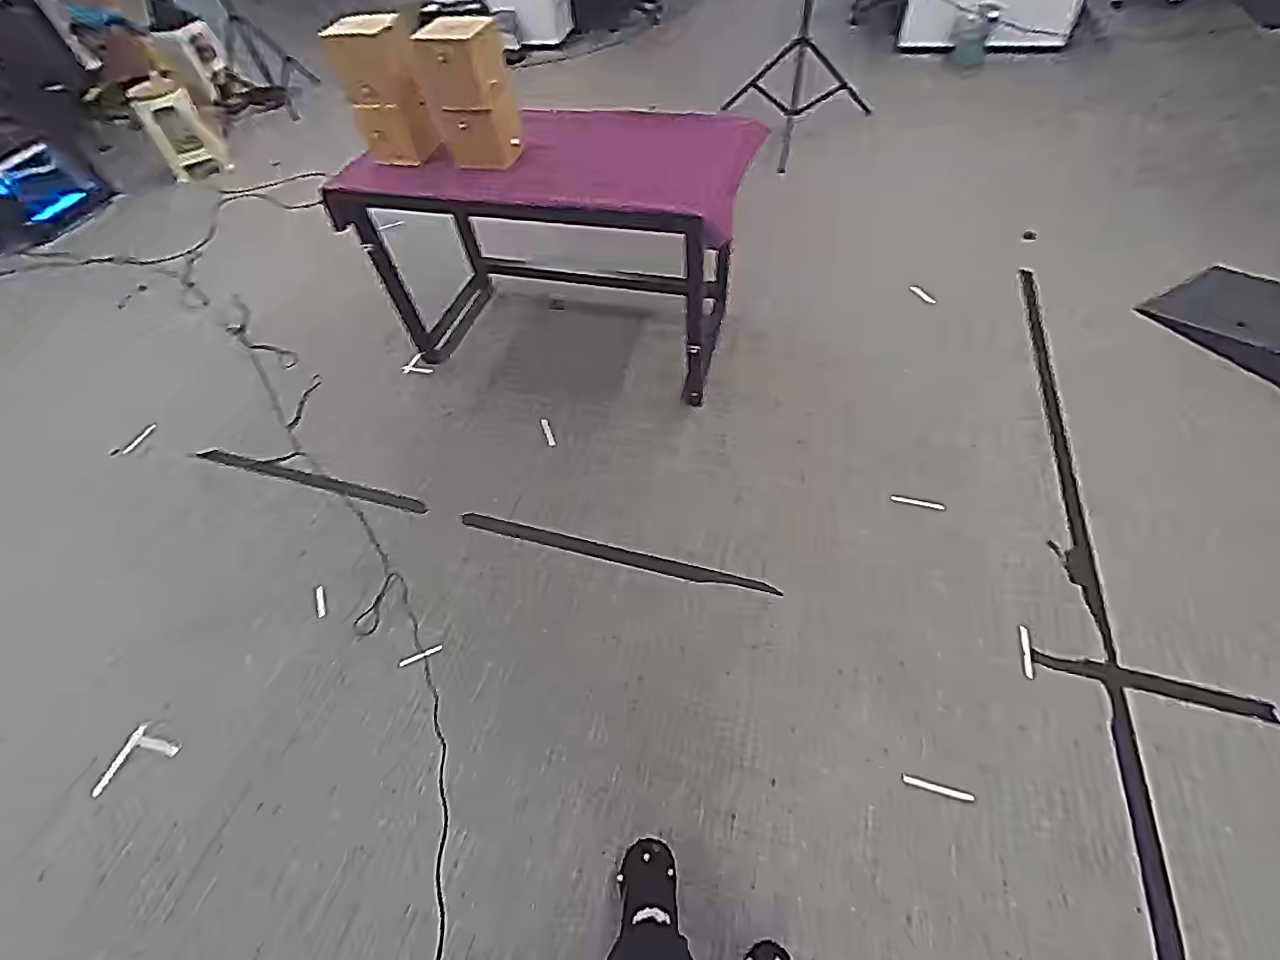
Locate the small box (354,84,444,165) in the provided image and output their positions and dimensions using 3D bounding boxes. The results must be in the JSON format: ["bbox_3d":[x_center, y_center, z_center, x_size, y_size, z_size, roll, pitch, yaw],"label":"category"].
[{"bbox_3d":[-0.747,-1.116,1.701,0.168,0.176,0.179,8,55,11],"label":"small box"}]

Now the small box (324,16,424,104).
[{"bbox_3d":[-0.763,-1.219,1.574,0.179,0.176,0.168,7,54,9],"label":"small box"}]

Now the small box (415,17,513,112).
[{"bbox_3d":[-0.480,-1.150,1.499,0.179,0.176,0.168,12,58,12],"label":"small box"}]

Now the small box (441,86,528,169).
[{"bbox_3d":[-0.464,-1.066,1.637,0.179,0.176,0.168,10,56,11],"label":"small box"}]
